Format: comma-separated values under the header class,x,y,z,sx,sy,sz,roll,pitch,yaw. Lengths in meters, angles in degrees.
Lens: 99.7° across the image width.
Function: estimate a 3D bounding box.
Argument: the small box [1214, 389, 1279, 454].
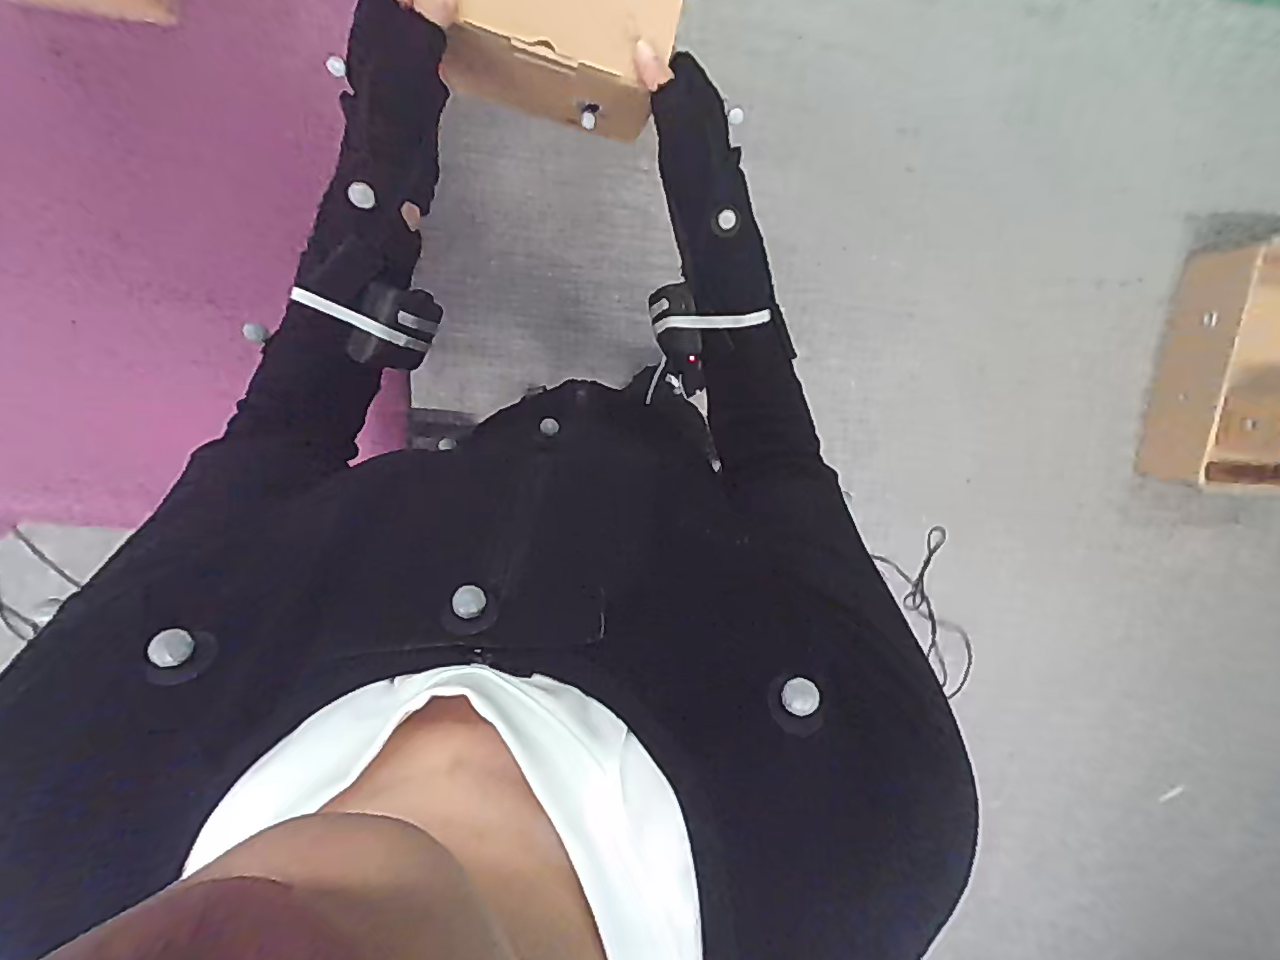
class,x,y,z,sx,sy,sz,roll,pitch,yaw
small box,1.716,-0.160,1.452,0.179,0.176,0.168,-3,101,-4
